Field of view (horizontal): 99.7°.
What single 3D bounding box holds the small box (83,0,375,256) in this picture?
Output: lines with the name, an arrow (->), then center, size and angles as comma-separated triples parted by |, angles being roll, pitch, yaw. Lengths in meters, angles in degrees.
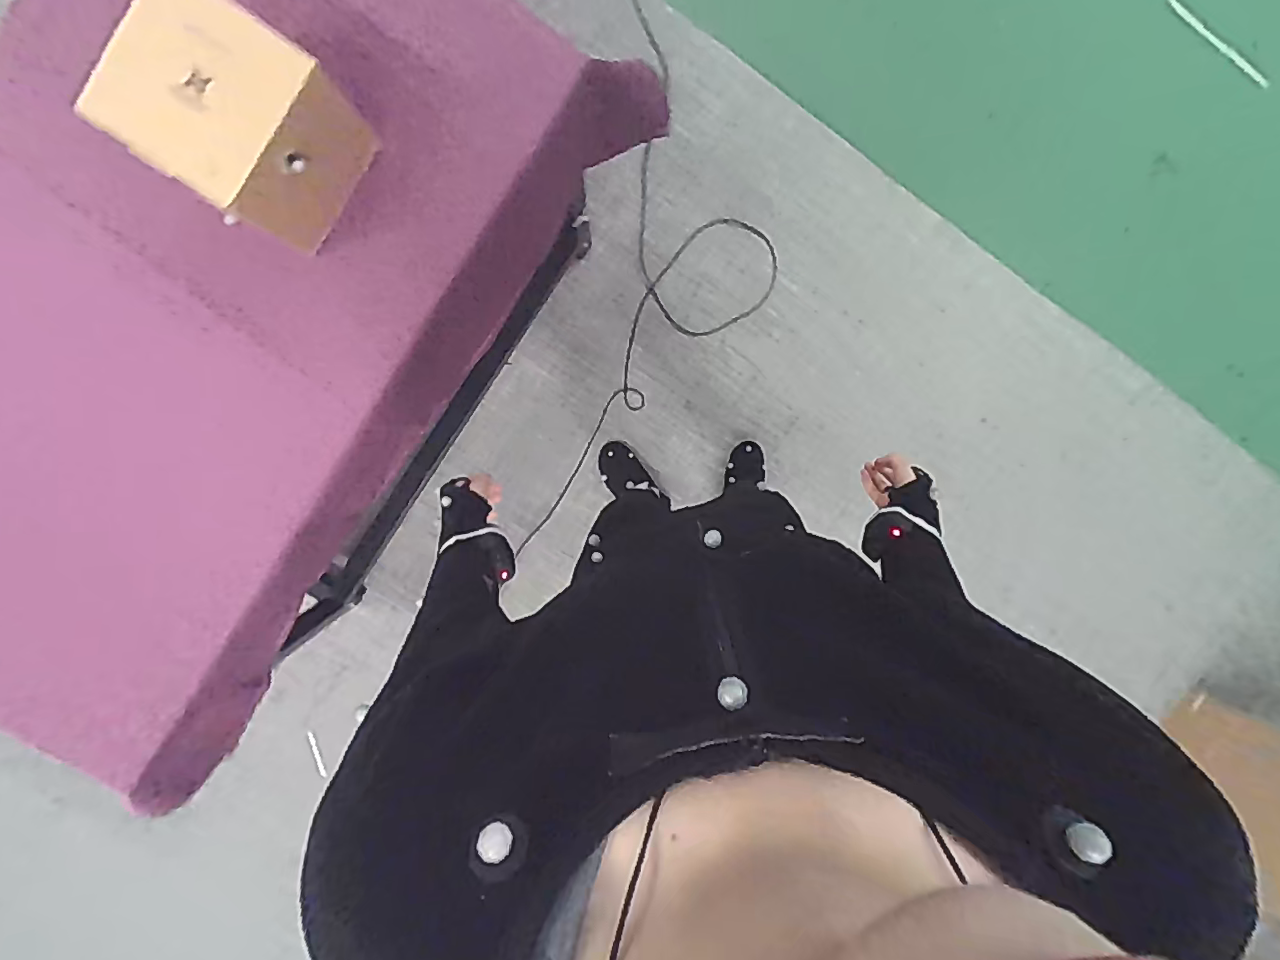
small box -> -0.443, -0.392, 0.618 | 0.168, 0.176, 0.179 | 34, 93, -6
